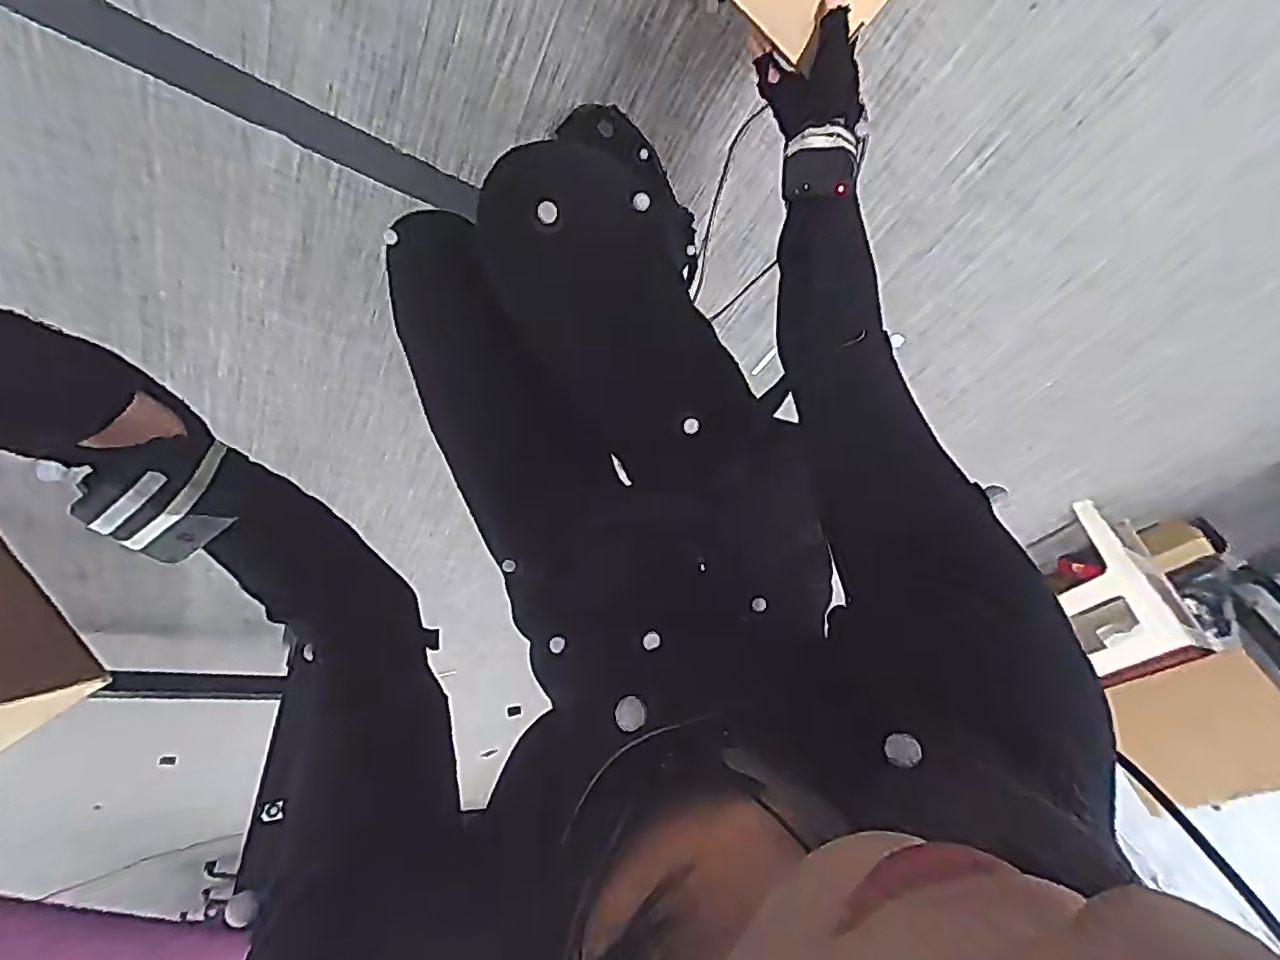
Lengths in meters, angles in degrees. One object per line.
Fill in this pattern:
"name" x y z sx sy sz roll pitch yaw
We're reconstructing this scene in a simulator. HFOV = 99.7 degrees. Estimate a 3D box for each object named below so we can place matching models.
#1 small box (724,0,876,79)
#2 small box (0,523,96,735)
"small box" 0.136 -0.522 0.486 0.179 0.176 0.168 18 133 -33
"small box" -0.307 0.038 0.115 0.168 0.179 0.176 -37 179 -17
